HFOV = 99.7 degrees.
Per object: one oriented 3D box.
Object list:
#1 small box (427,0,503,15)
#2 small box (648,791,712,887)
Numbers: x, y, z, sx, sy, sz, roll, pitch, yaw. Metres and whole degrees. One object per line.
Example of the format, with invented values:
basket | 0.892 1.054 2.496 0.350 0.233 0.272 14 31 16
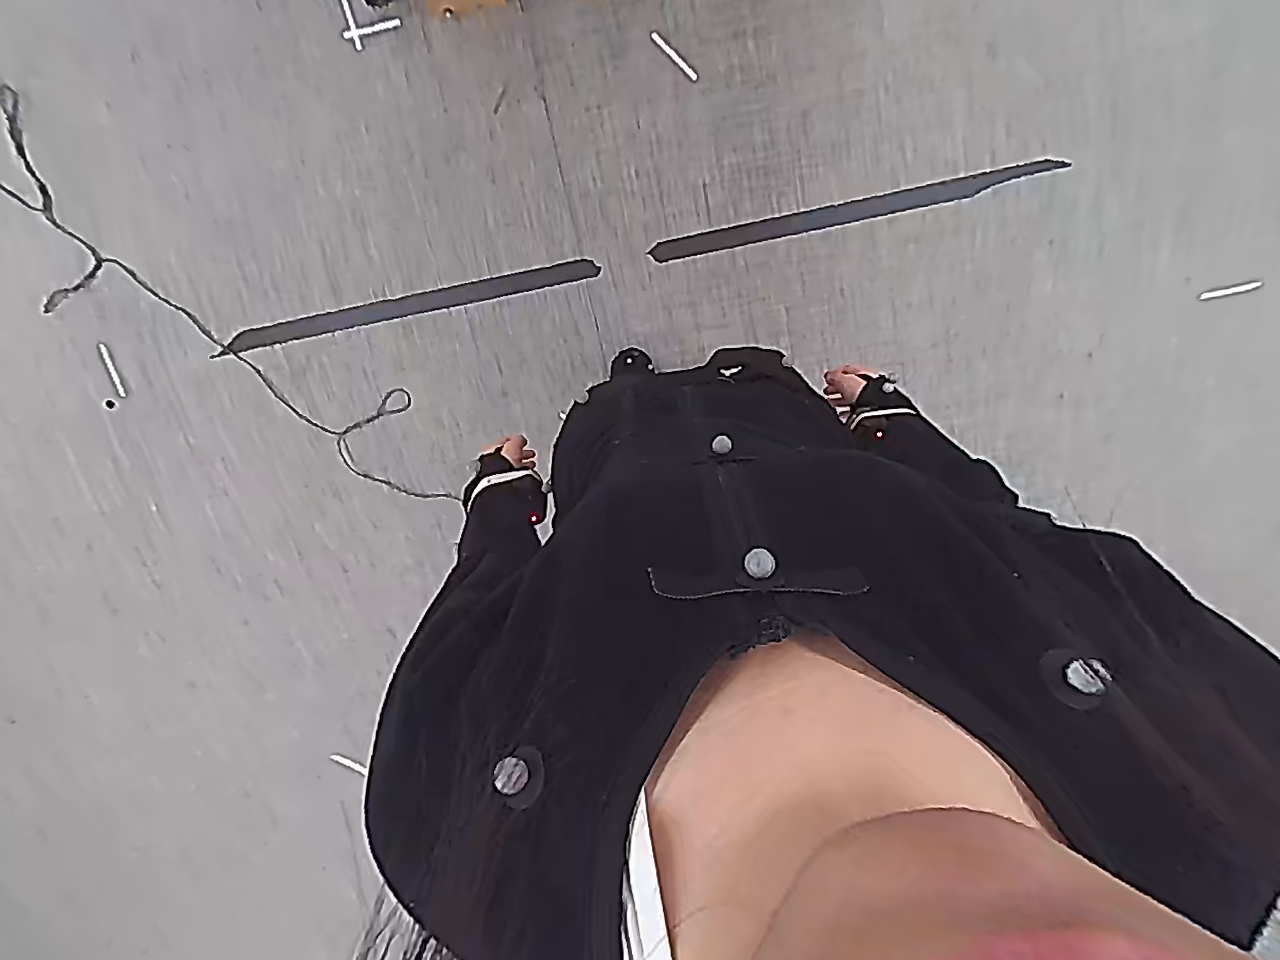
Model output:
small box | -0.401 -1.128 1.138 0.168 0.176 0.179 -11 103 2
small box | 0.124 1.133 1.714 0.168 0.176 0.179 -13 105 2
